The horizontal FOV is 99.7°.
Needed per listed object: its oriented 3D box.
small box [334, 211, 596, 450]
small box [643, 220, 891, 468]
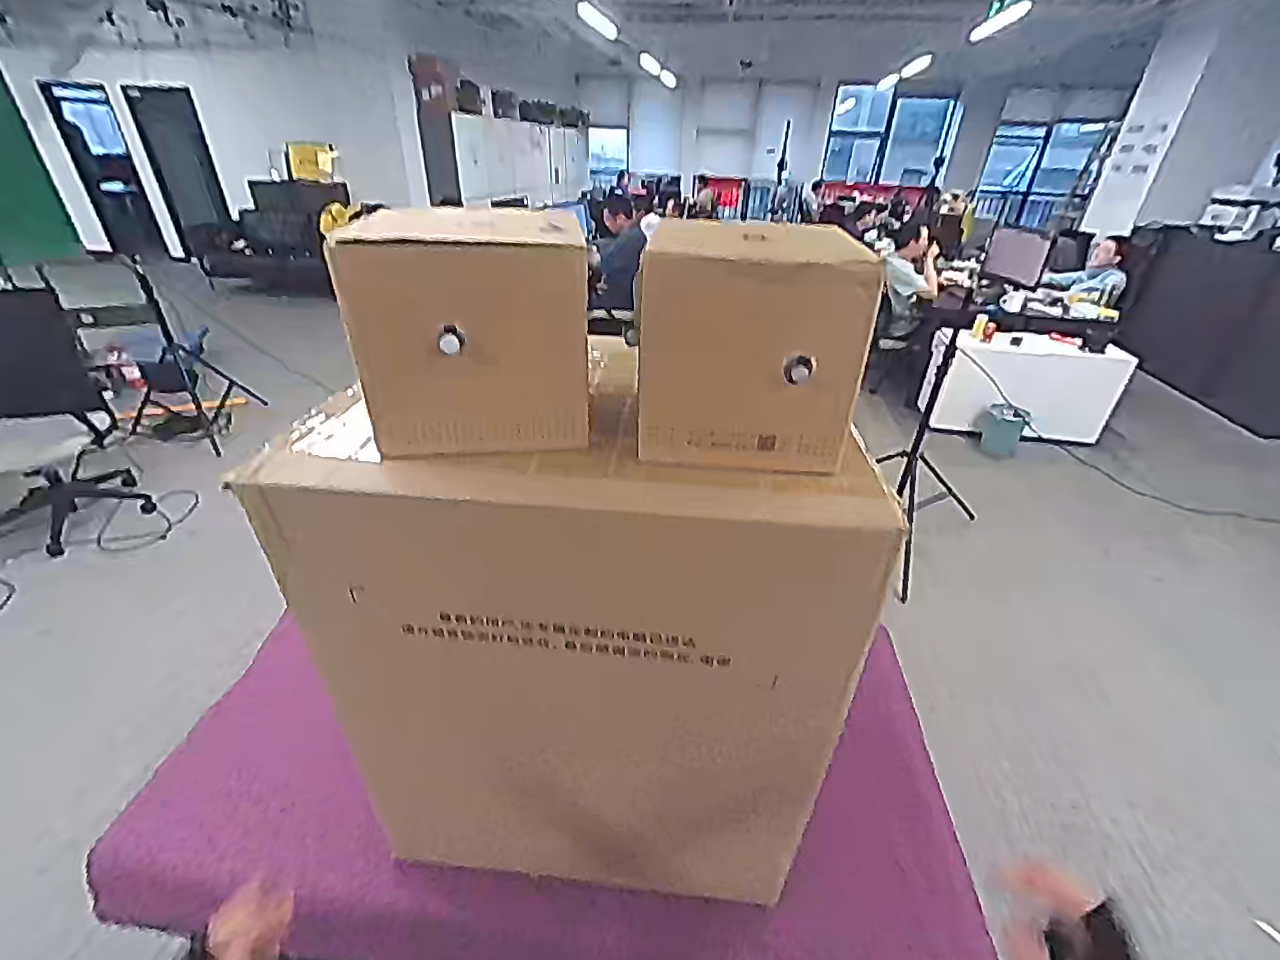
[{"bbox_3d":[-0.132,-0.134,0.477,0.179,0.176,0.168,-2,33,-9],"label":"small box"},{"bbox_3d":[0.092,-0.123,0.472,0.168,0.176,0.179,5,31,3],"label":"small box"}]
